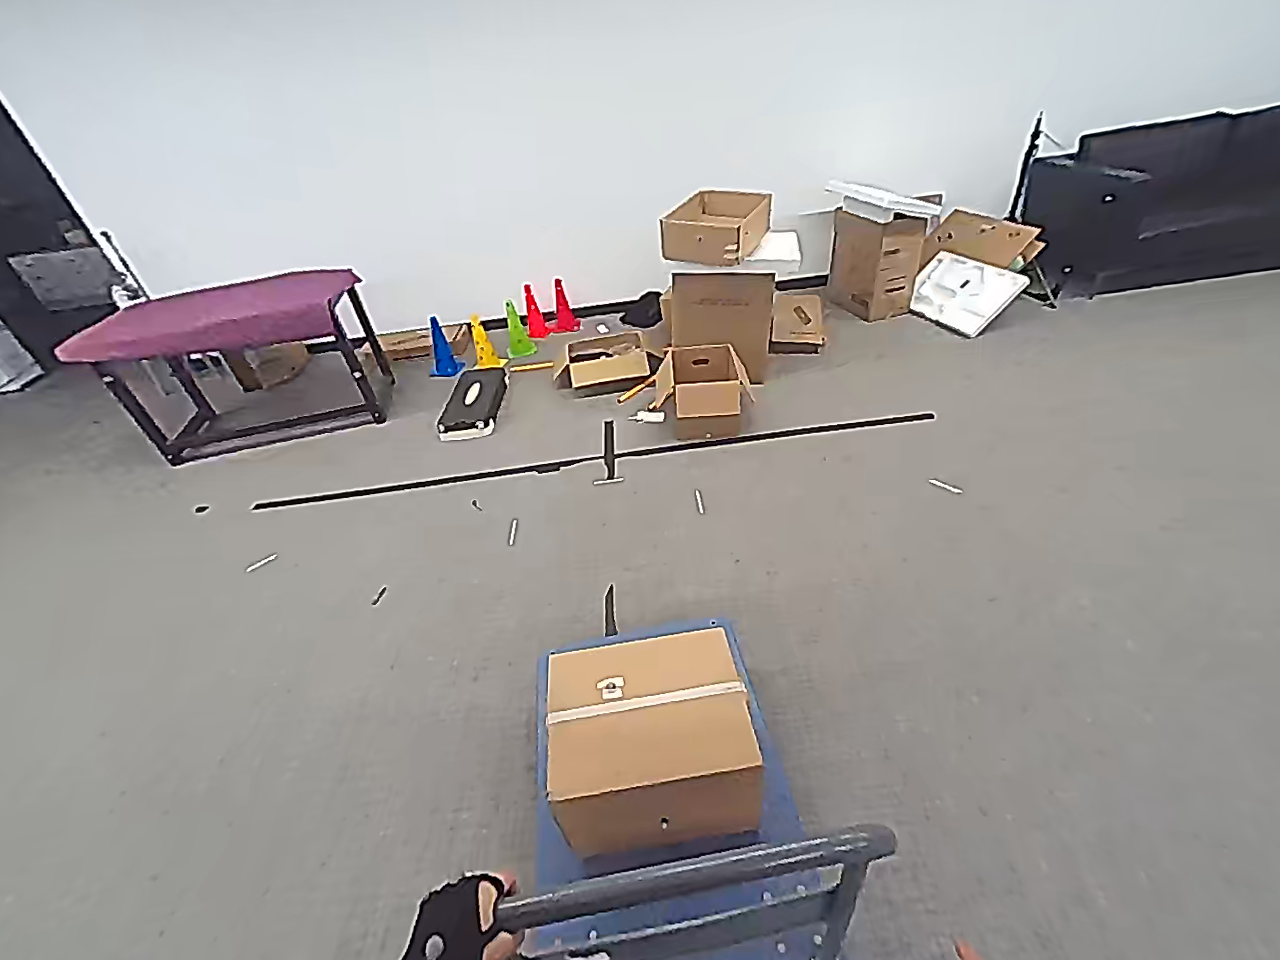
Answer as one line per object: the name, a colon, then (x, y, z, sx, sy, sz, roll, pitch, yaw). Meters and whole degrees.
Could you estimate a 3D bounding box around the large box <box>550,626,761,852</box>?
large box: (0.030, 0.578, 1.215, 0.408, 0.320, 0.320, -10, 37, -2)
